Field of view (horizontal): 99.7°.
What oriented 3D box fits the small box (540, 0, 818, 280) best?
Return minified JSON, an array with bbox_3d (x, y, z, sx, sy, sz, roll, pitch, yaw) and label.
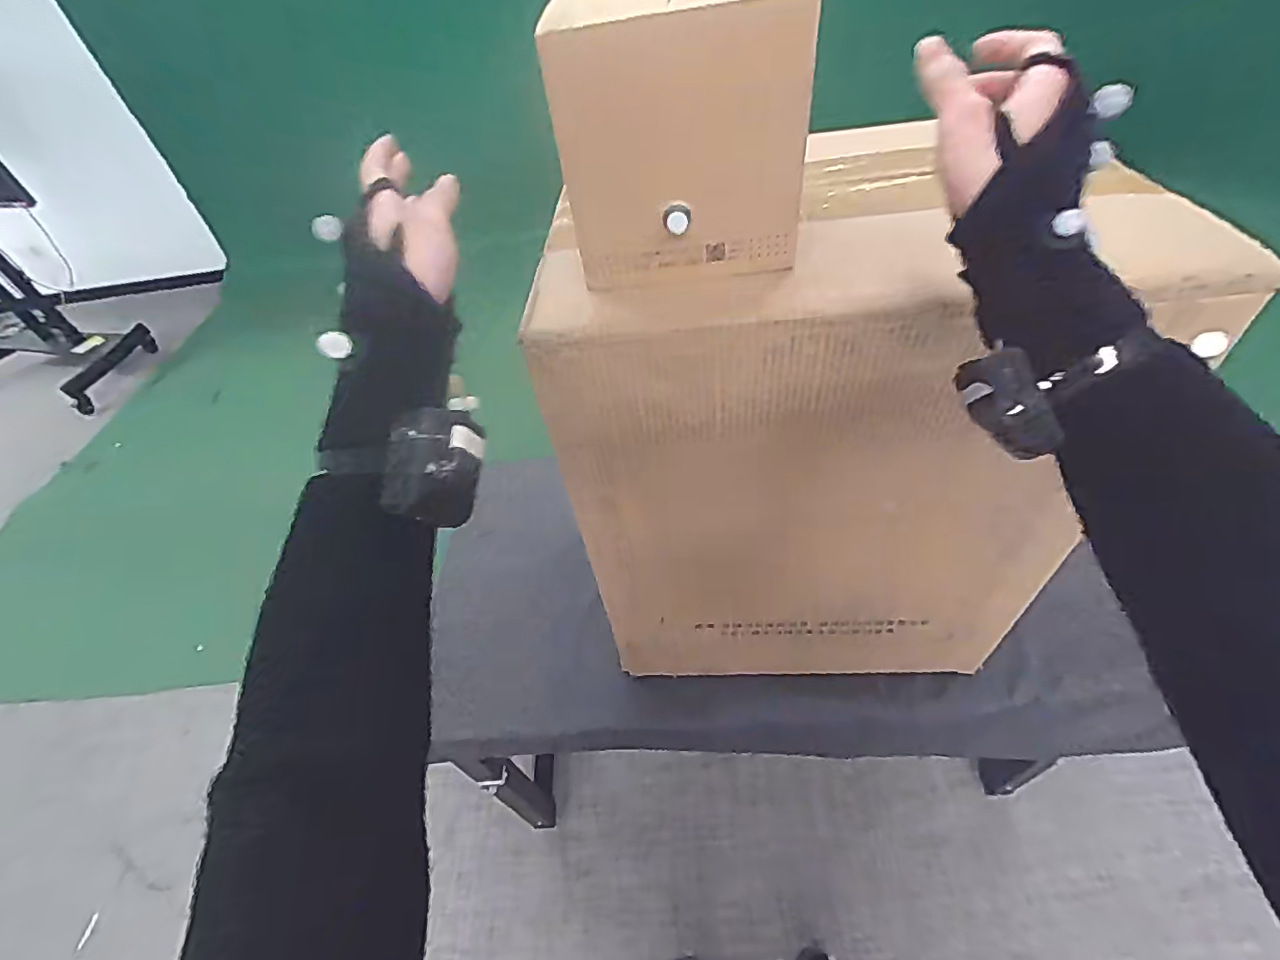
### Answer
[{"bbox_3d":[0.032,-0.282,0.427,0.168,0.176,0.179,-4,50,6],"label":"small box"}]
